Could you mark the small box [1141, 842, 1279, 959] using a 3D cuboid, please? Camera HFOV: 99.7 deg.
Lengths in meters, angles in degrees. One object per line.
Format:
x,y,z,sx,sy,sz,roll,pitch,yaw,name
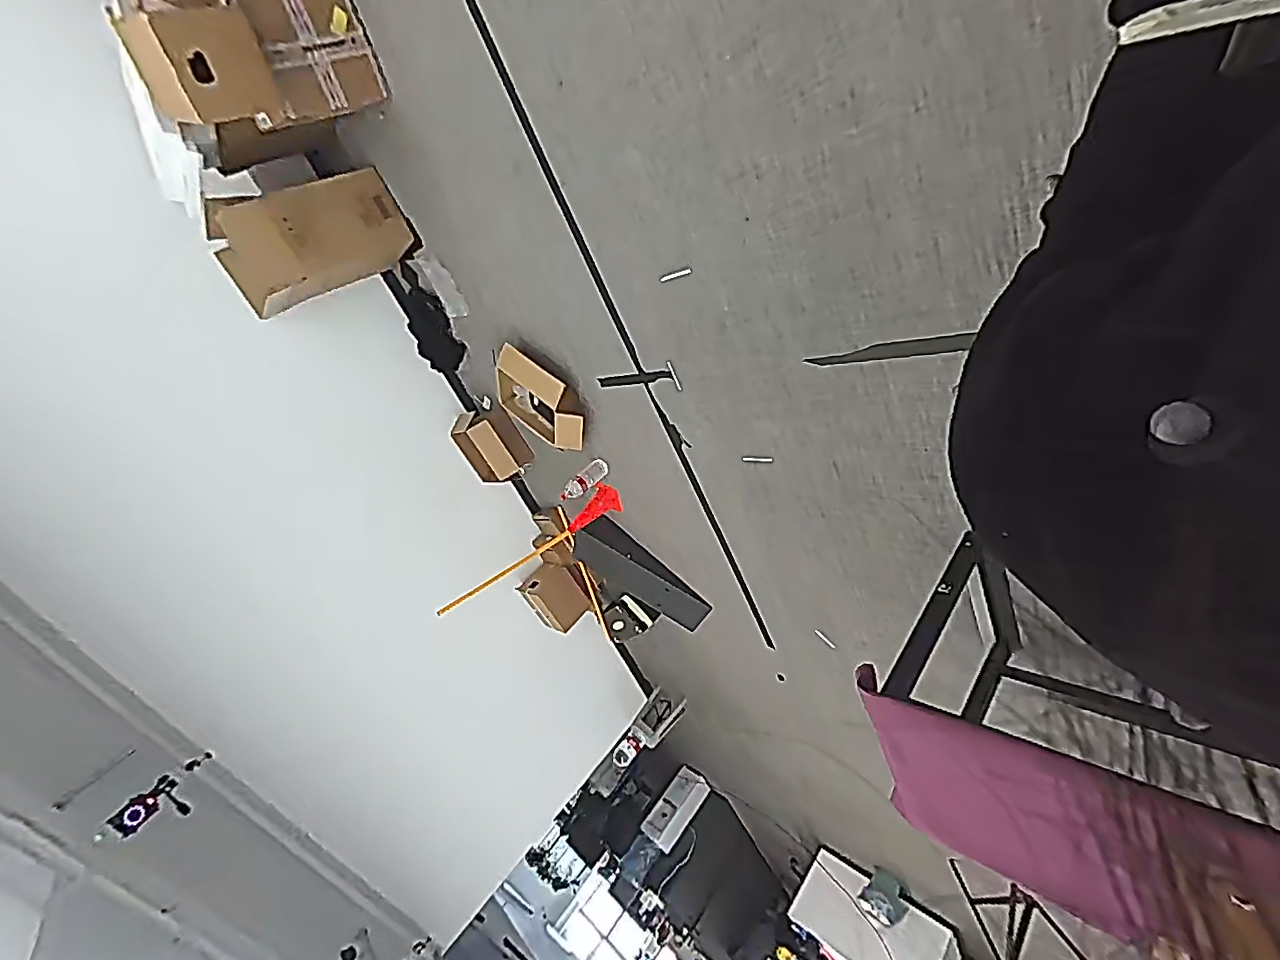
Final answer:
1.011,0.797,0.953,0.168,0.176,0.179,7,131,47,small box
